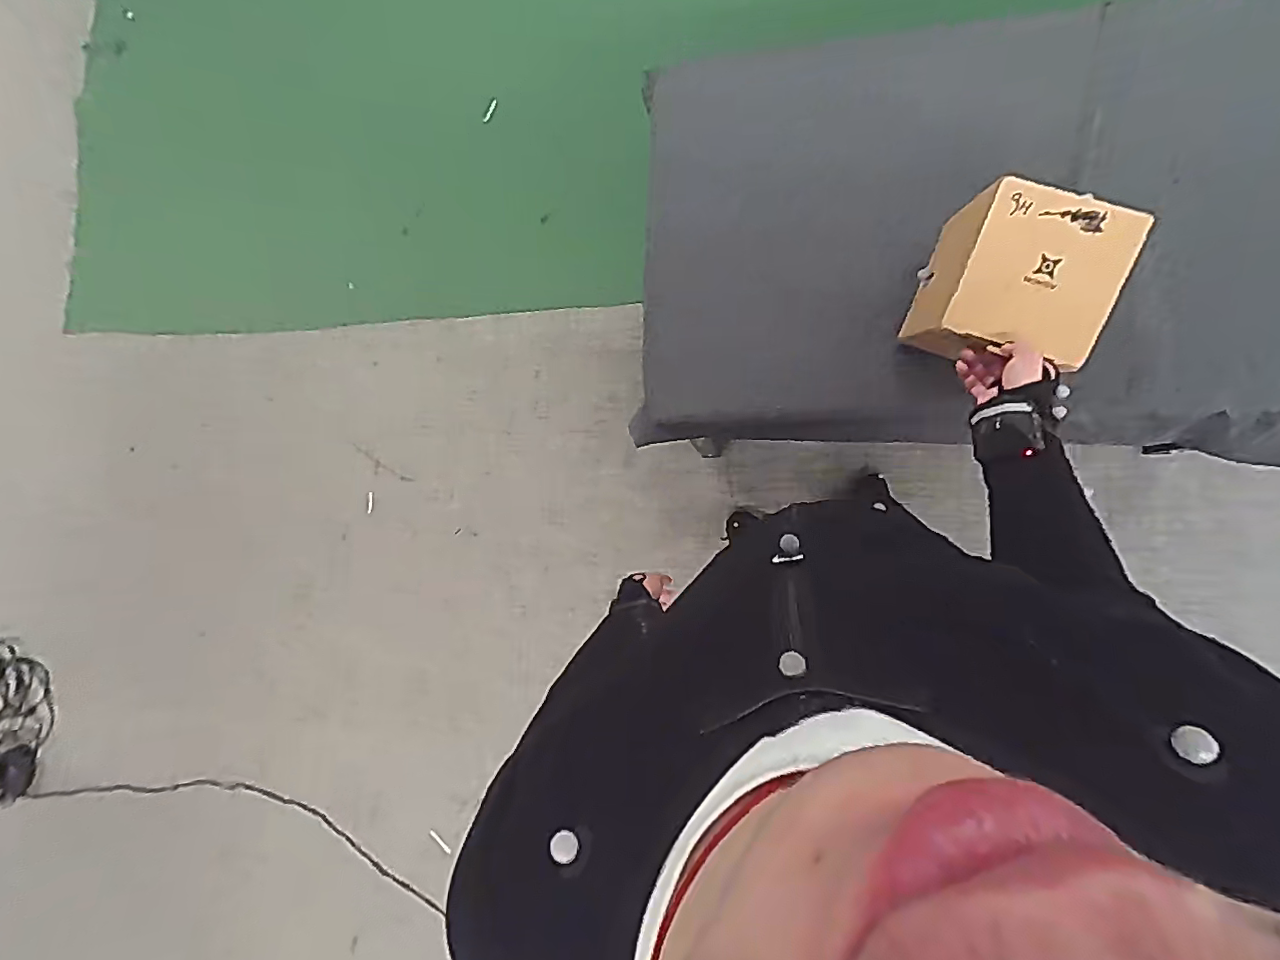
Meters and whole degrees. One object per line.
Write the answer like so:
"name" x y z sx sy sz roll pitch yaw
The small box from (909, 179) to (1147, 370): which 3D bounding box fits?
"small box" 0.469 -0.247 0.693 0.168 0.176 0.179 17 100 8
